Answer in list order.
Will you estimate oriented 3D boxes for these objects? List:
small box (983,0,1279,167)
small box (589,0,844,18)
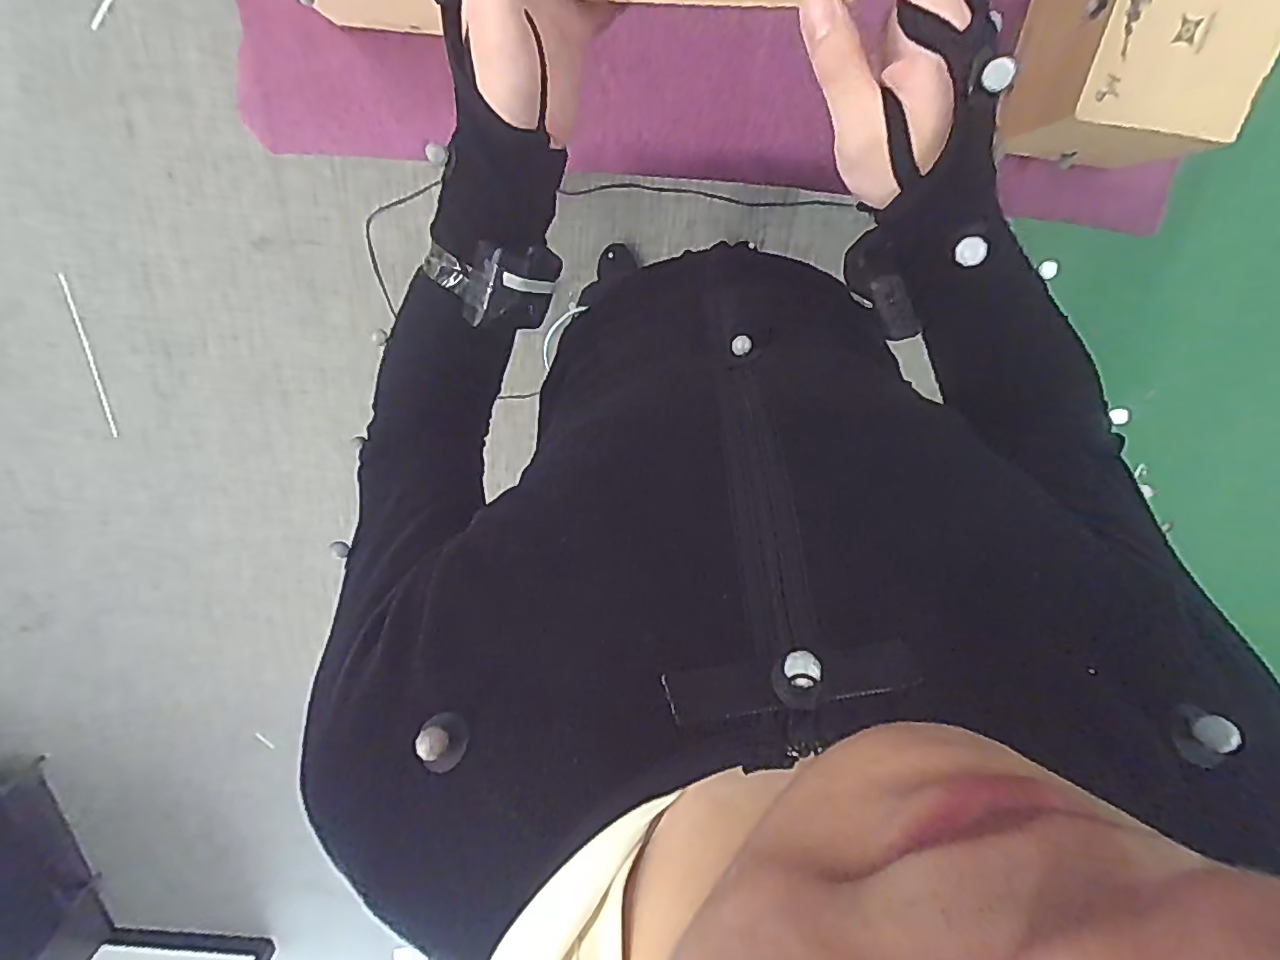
[{"bbox_3d":[0.539,-0.464,0.605,0.179,0.176,0.168,8,112,-2],"label":"small box"},{"bbox_3d":[0.051,-0.349,0.233,0.168,0.176,0.179,24,74,24],"label":"small box"}]
